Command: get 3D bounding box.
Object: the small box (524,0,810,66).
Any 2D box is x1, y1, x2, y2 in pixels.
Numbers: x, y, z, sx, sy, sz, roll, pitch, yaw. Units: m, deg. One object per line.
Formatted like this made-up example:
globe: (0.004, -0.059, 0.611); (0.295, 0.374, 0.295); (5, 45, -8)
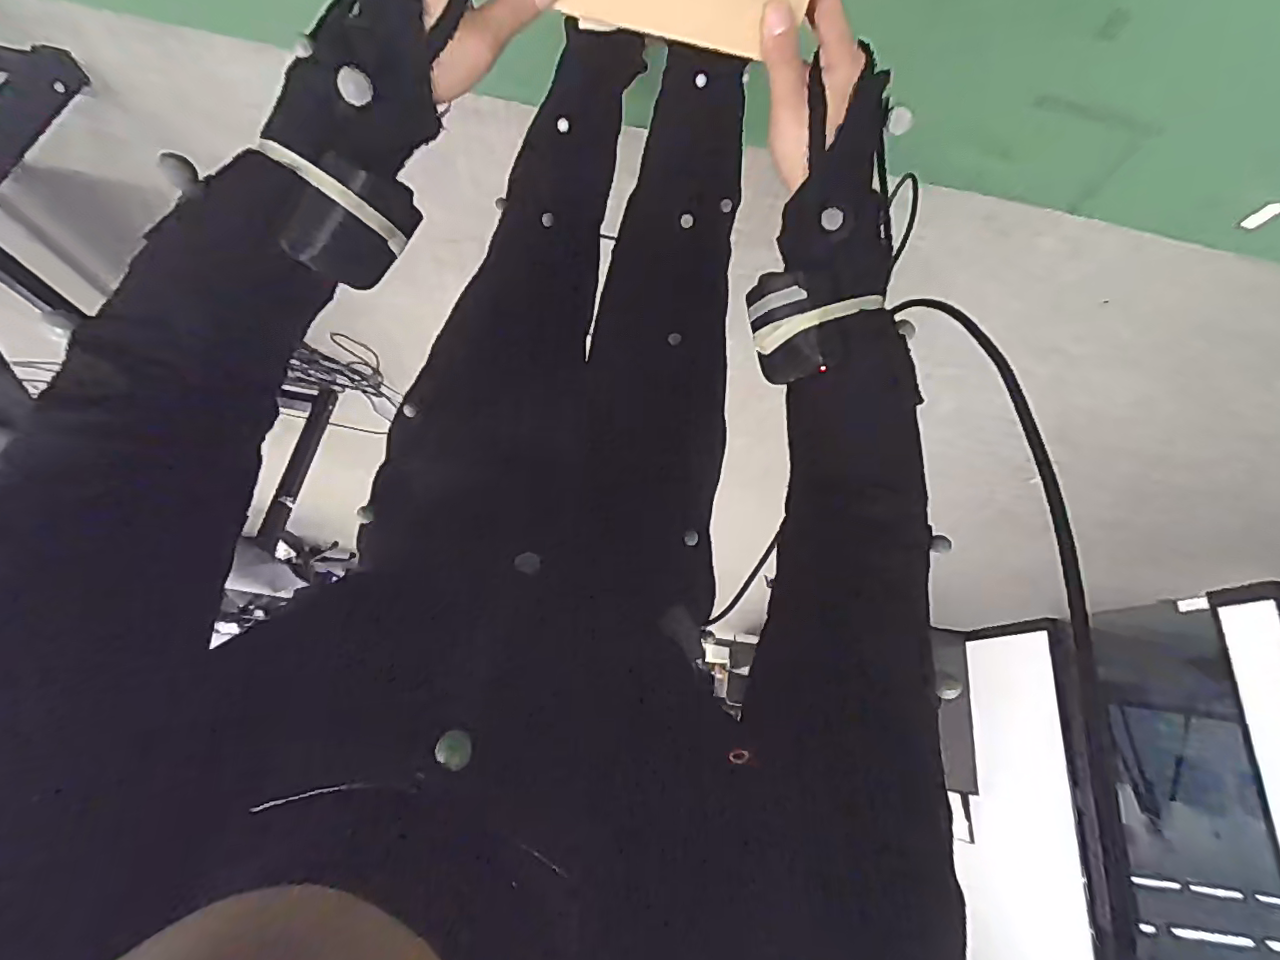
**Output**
small box: (0.030, -0.370, 0.288); (0.168, 0.176, 0.179); (9, 144, -6)
